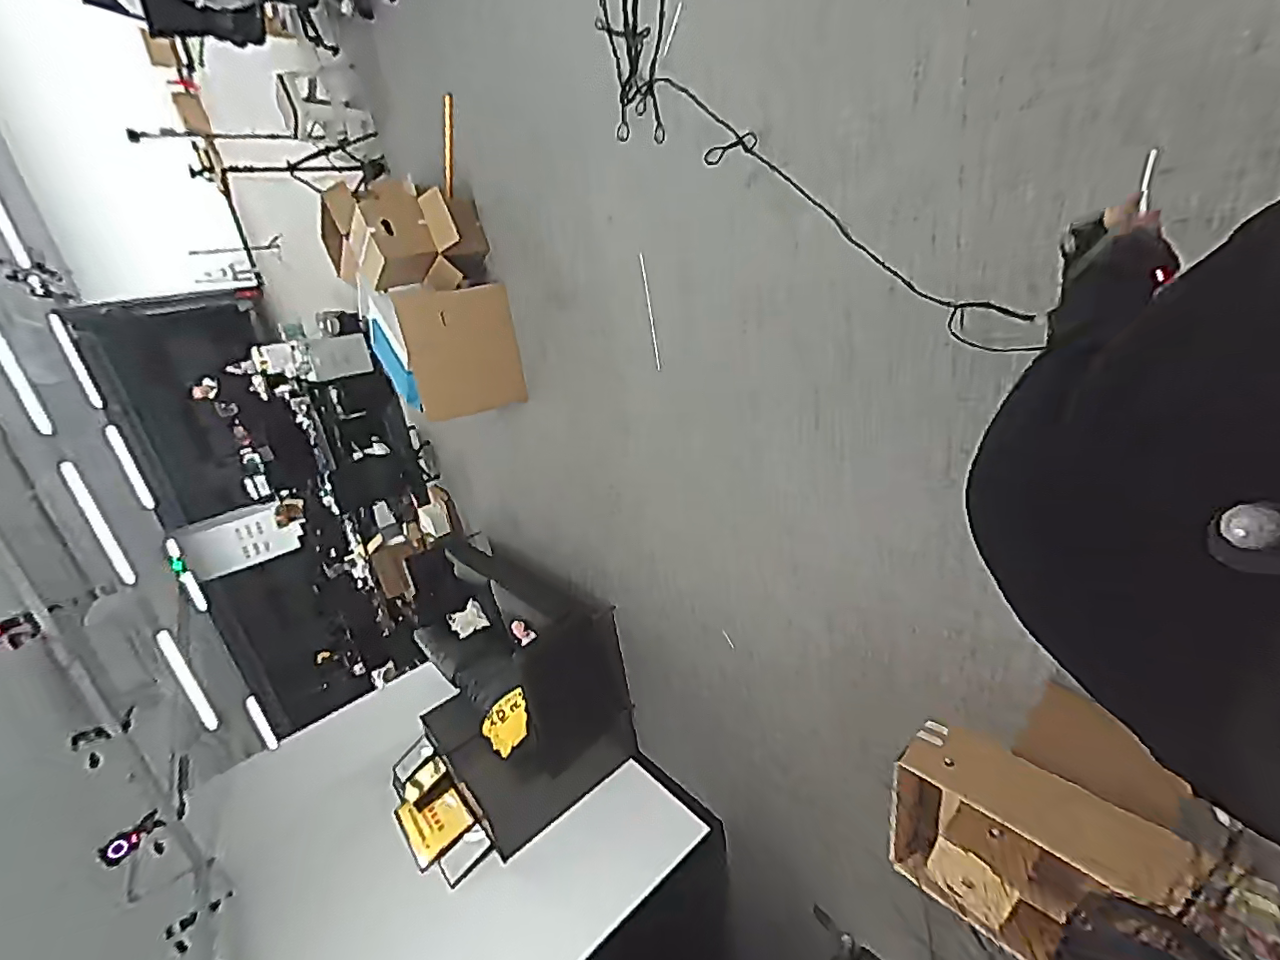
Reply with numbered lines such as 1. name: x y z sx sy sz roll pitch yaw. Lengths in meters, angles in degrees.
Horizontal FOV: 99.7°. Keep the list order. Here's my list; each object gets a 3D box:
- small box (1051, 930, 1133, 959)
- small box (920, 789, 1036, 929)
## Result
1. small box: 0.852 0.983 0.970 0.168 0.176 0.179 -9 102 53
2. small box: 0.794 0.877 1.268 0.168 0.176 0.179 28 130 41
